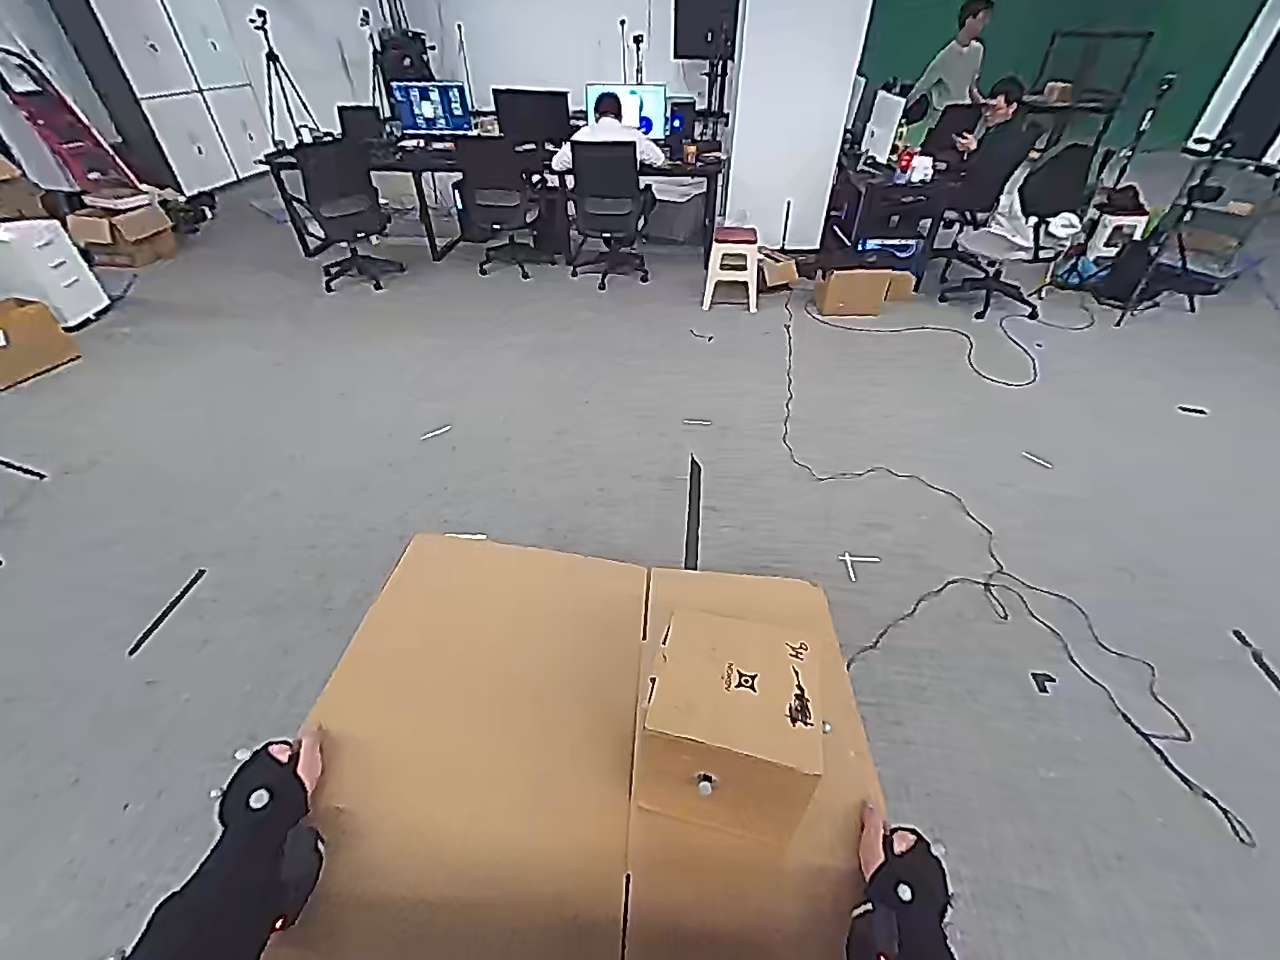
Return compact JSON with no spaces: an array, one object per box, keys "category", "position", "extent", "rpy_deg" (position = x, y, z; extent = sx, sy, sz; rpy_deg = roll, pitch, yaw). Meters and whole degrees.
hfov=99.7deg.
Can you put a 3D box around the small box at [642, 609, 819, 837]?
[{"category":"small box","position":[0.104,0.282,0.635],"extent":[0.179,0.176,0.168],"rpy_deg":[9,37,11]}]
